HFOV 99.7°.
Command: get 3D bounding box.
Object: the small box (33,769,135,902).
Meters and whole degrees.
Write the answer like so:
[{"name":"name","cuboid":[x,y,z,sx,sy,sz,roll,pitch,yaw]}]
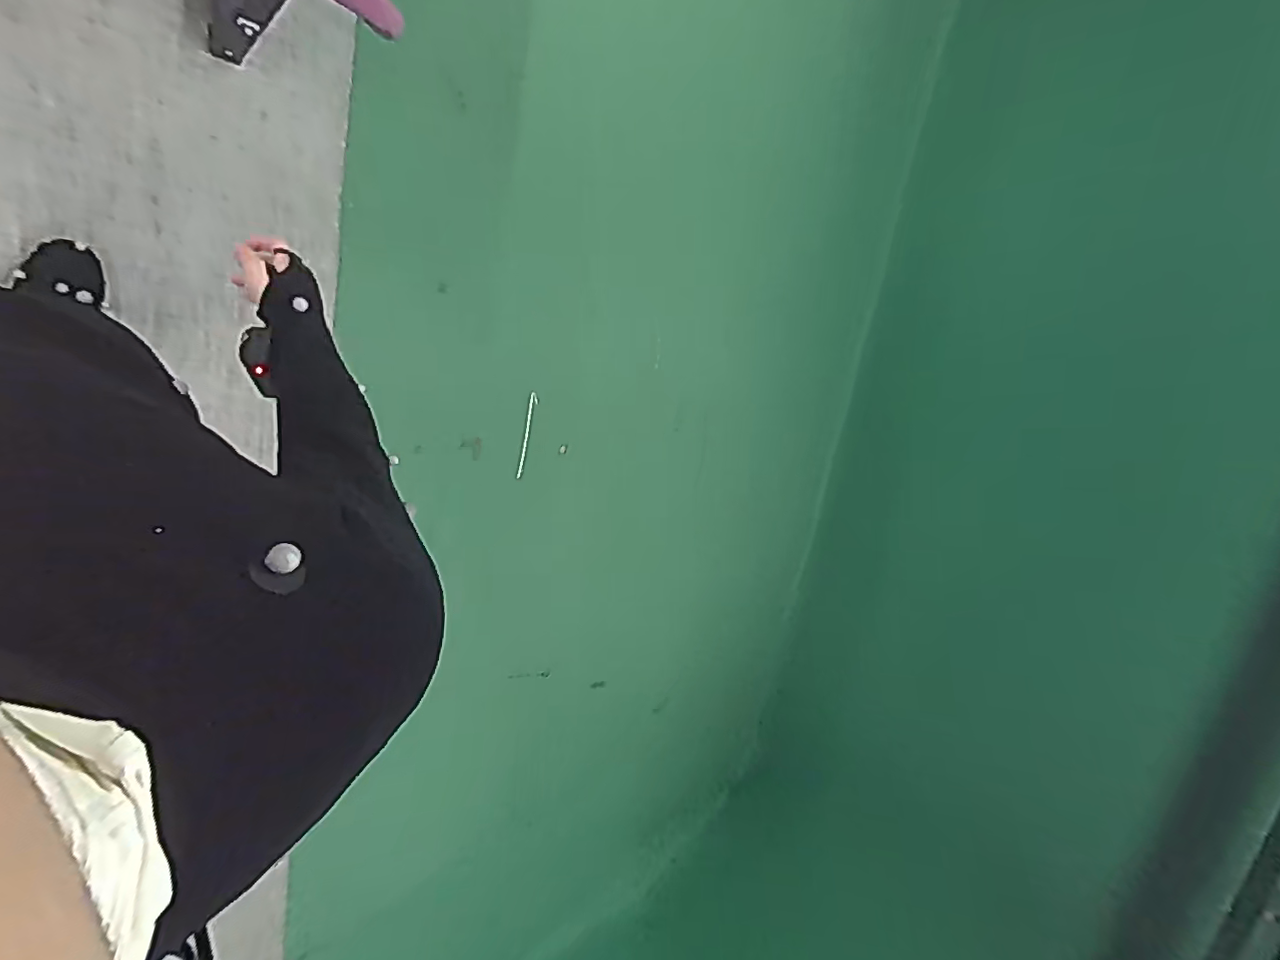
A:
[{"name":"small box","cuboid":[-1.345,0.851,1.312,0.168,0.176,0.179,0,108,-46]}]
